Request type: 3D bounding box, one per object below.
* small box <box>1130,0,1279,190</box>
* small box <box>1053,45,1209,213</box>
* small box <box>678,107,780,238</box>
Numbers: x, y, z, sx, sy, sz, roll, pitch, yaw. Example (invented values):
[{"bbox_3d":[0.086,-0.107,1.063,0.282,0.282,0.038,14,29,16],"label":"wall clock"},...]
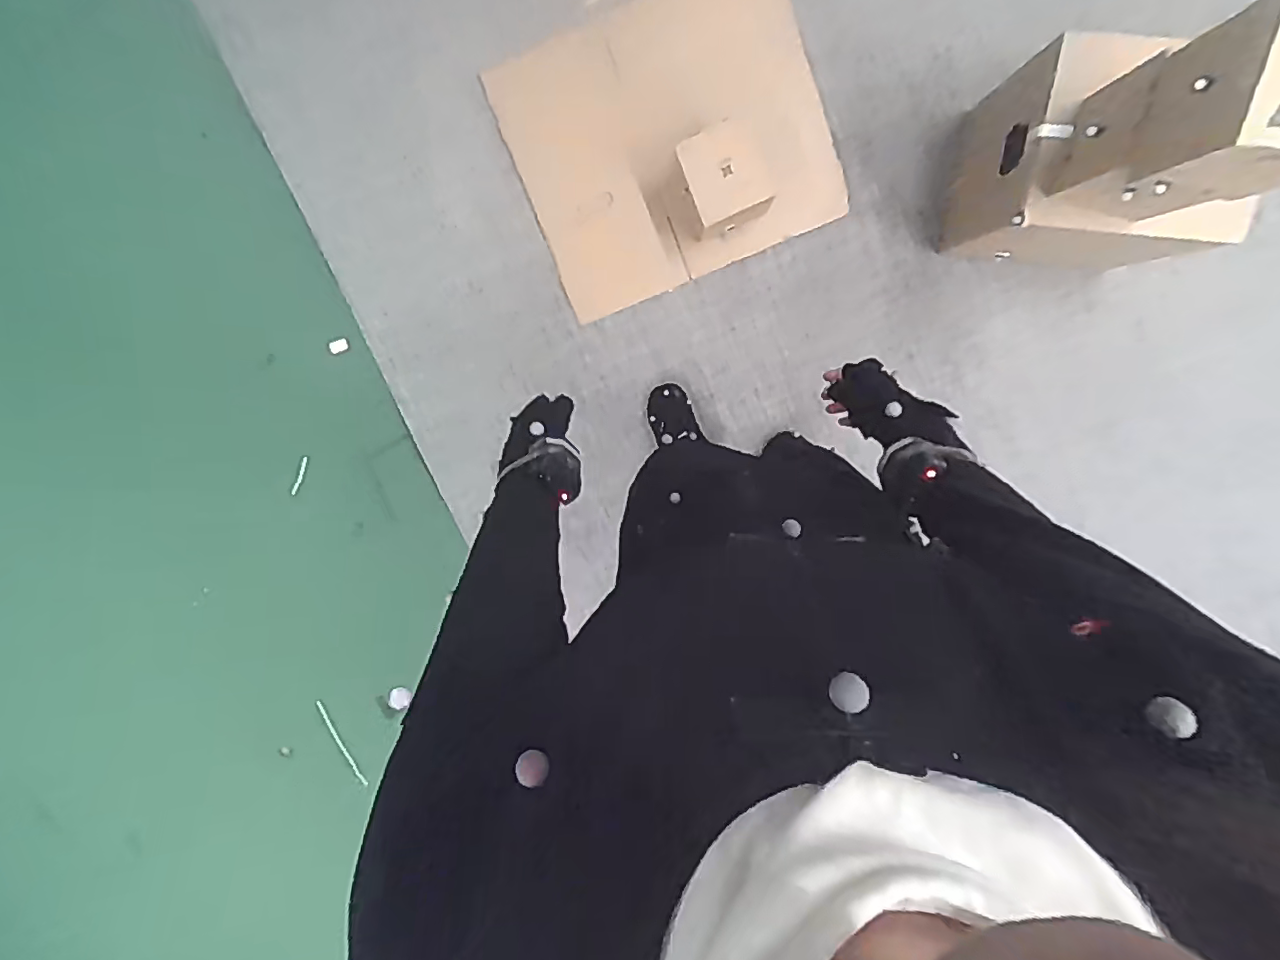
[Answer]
[{"bbox_3d":[0.816,-0.503,0.718,0.168,0.176,0.179,6,105,2],"label":"small box"},{"bbox_3d":[0.829,-0.553,0.877,0.179,0.176,0.168,11,102,0],"label":"small box"},{"bbox_3d":[0.188,-0.662,1.188,0.168,0.176,0.179,-22,101,10],"label":"small box"}]
